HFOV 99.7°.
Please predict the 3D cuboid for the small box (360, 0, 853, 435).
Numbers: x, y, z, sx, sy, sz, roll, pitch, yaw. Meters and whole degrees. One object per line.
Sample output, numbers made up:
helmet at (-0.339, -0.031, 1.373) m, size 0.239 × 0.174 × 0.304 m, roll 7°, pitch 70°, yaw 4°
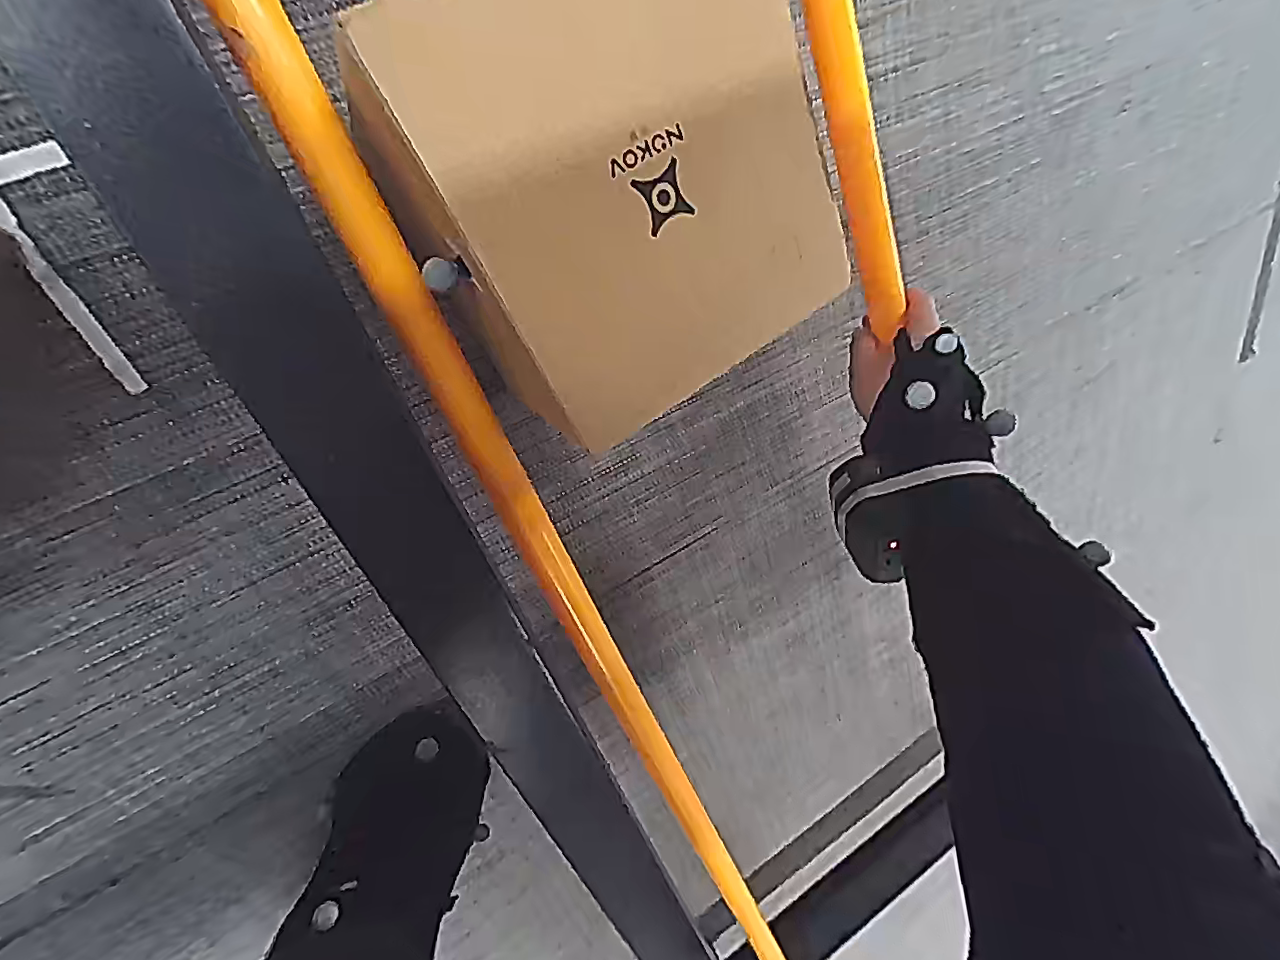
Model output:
small box at (-0.021, -0.155, 0.295) m, size 0.168 × 0.176 × 0.179 m, roll -34°, pitch 119°, yaw -11°
